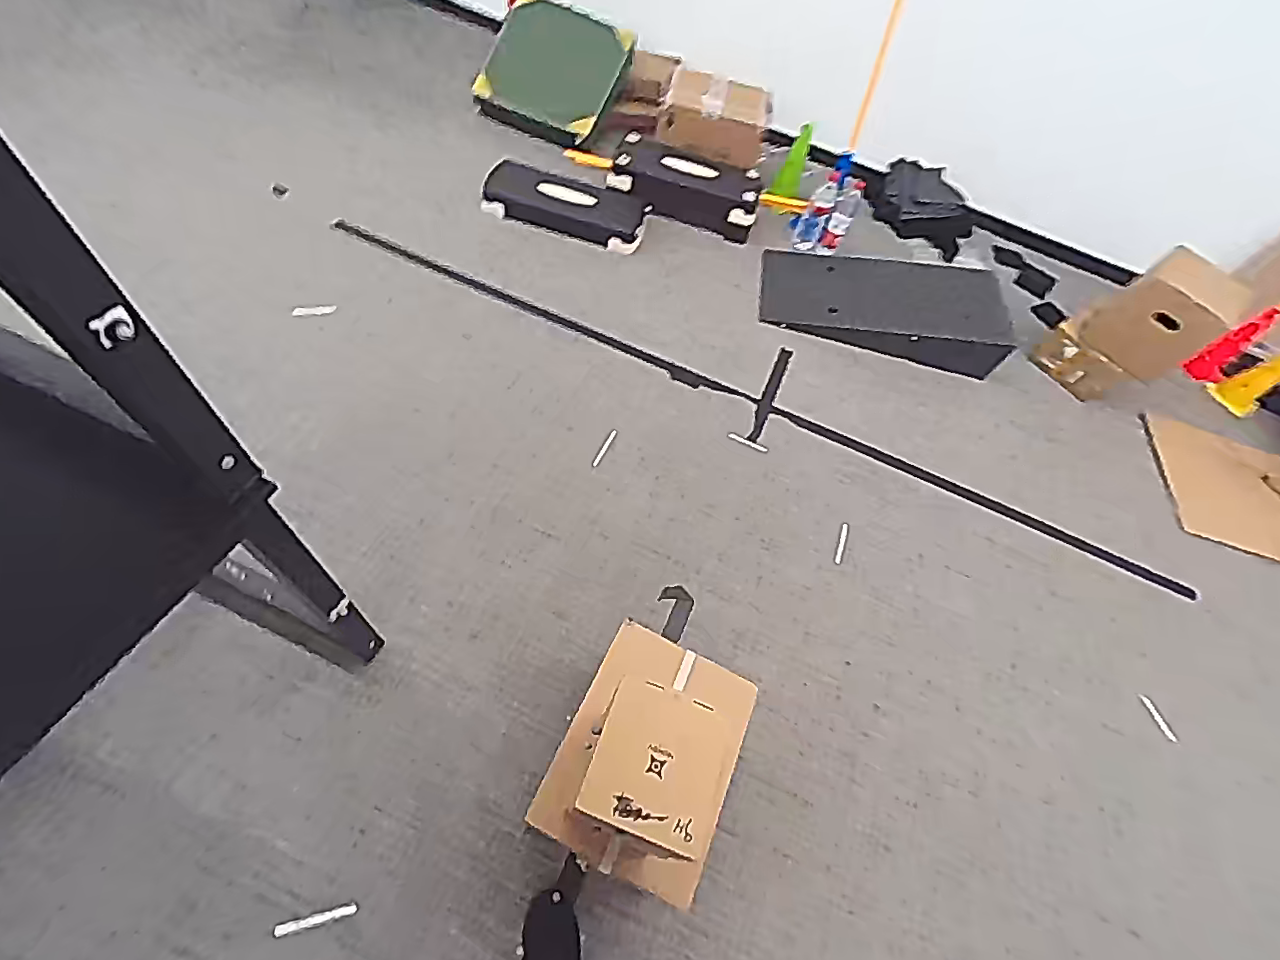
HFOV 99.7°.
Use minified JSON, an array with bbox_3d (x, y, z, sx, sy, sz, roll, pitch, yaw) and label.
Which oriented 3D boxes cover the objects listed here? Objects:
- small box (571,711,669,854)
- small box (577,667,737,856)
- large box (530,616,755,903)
[{"bbox_3d":[-0.008,0.484,0.897,0.168,0.176,0.179,24,57,6],"label":"small box"},{"bbox_3d":[0.017,0.398,0.761,0.168,0.176,0.179,21,55,5],"label":"small box"},{"bbox_3d":[-0.003,0.575,1.135,0.320,0.320,0.408,27,56,4],"label":"large box"}]
